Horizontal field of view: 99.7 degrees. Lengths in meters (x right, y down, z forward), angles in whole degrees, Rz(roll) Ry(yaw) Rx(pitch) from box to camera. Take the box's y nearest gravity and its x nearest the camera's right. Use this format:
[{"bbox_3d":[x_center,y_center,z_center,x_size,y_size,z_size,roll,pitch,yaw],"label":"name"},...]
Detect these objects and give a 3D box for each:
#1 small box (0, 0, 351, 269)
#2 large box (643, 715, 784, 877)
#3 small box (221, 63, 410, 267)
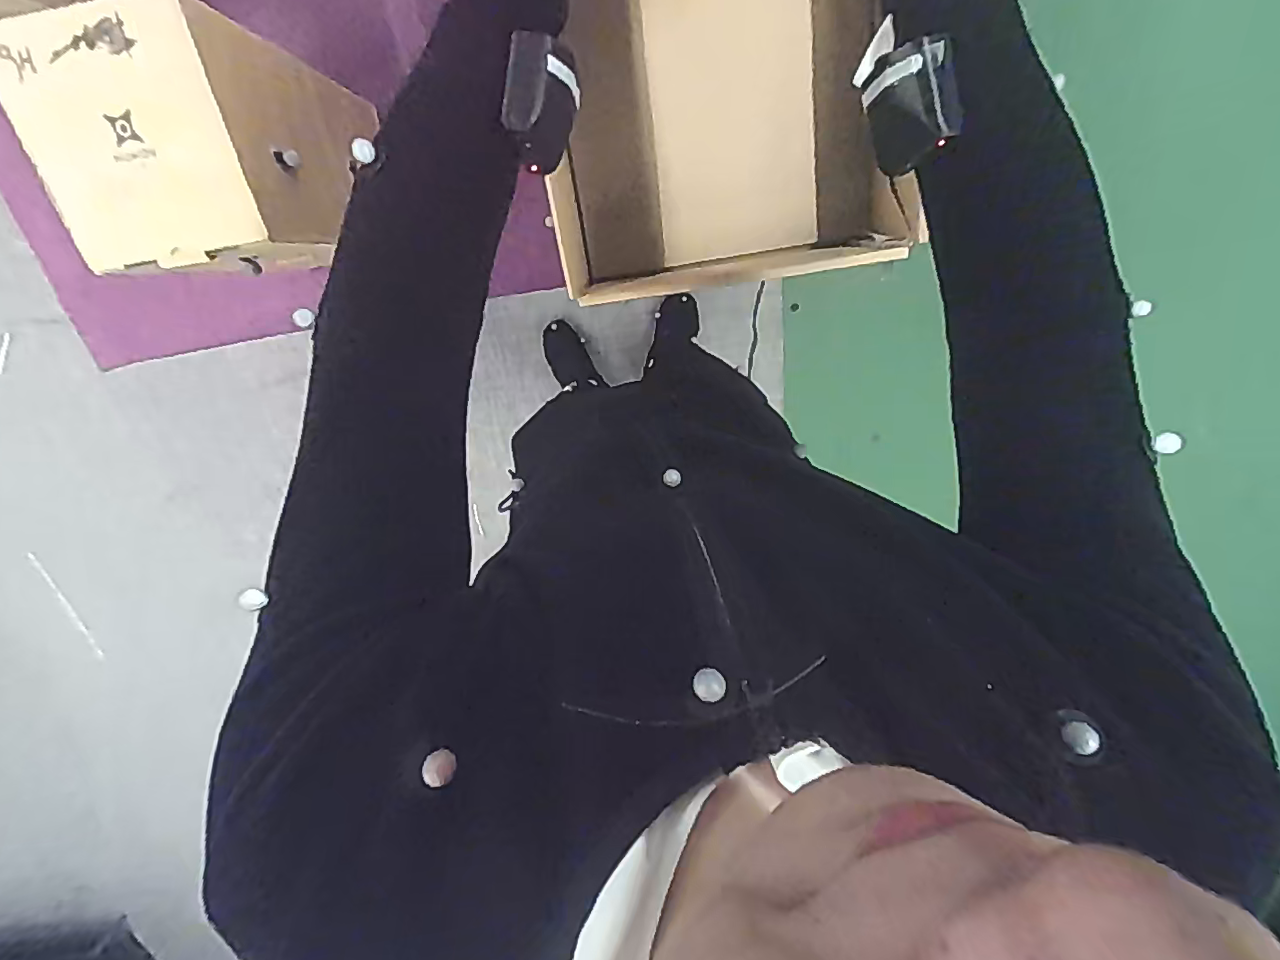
[{"bbox_3d":[-0.405,-0.301,0.499,0.168,0.176,0.179,-8,113,3],"label":"small box"},{"bbox_3d":[0.258,1.179,2.031,0.408,0.320,0.320,-38,109,14],"label":"large box"},{"bbox_3d":[-0.405,-0.362,0.652,0.168,0.176,0.179,-7,112,2],"label":"small box"}]
